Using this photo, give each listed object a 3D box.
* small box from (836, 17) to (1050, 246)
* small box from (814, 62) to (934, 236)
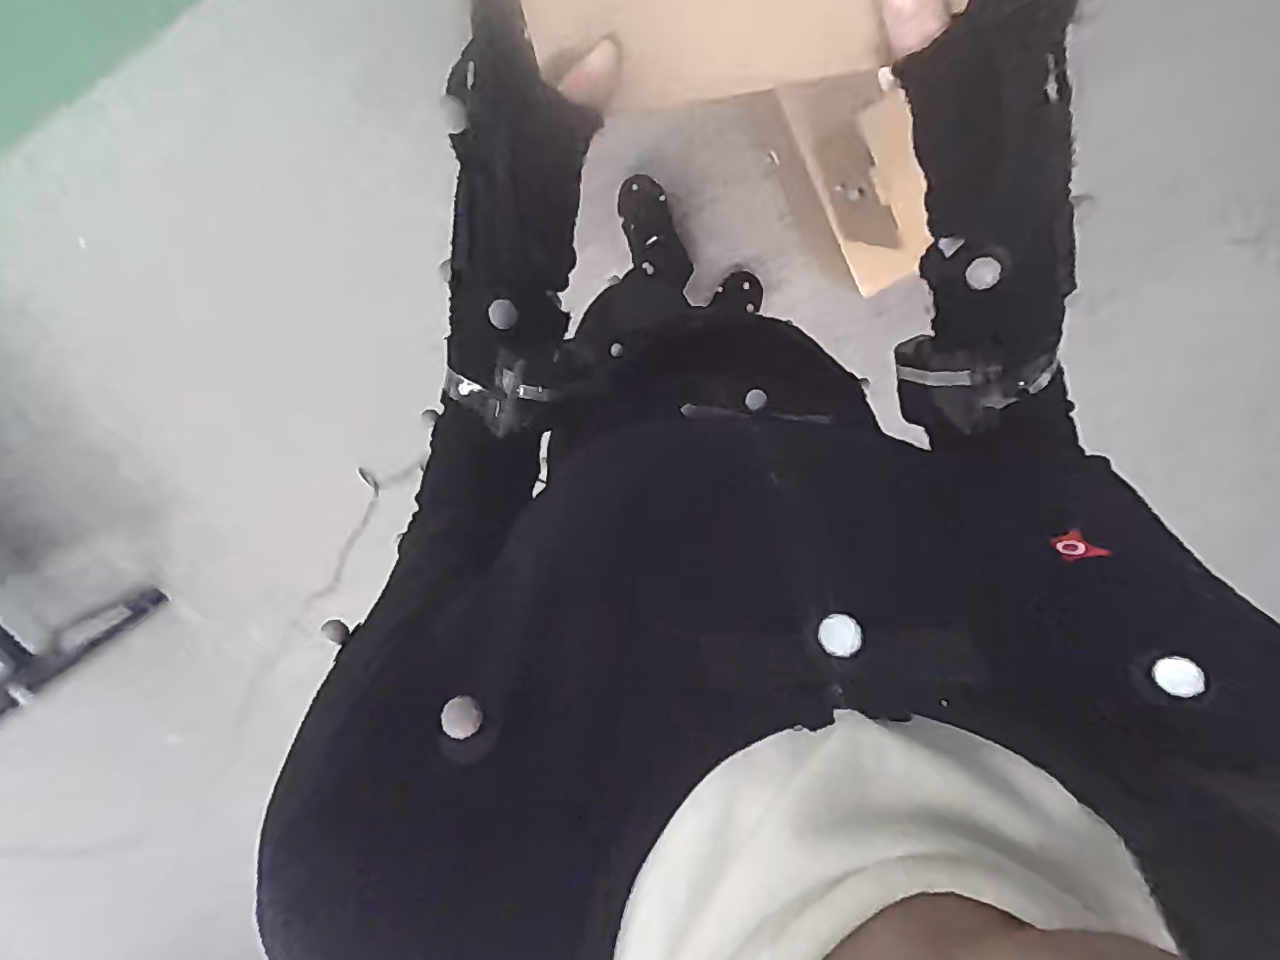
[{"bbox_3d":[0.363,-0.416,0.684,0.179,0.176,0.168,-24,110,18],"label":"small box"},{"bbox_3d":[0.382,-0.491,0.828,0.168,0.176,0.179,-22,112,17],"label":"small box"}]
